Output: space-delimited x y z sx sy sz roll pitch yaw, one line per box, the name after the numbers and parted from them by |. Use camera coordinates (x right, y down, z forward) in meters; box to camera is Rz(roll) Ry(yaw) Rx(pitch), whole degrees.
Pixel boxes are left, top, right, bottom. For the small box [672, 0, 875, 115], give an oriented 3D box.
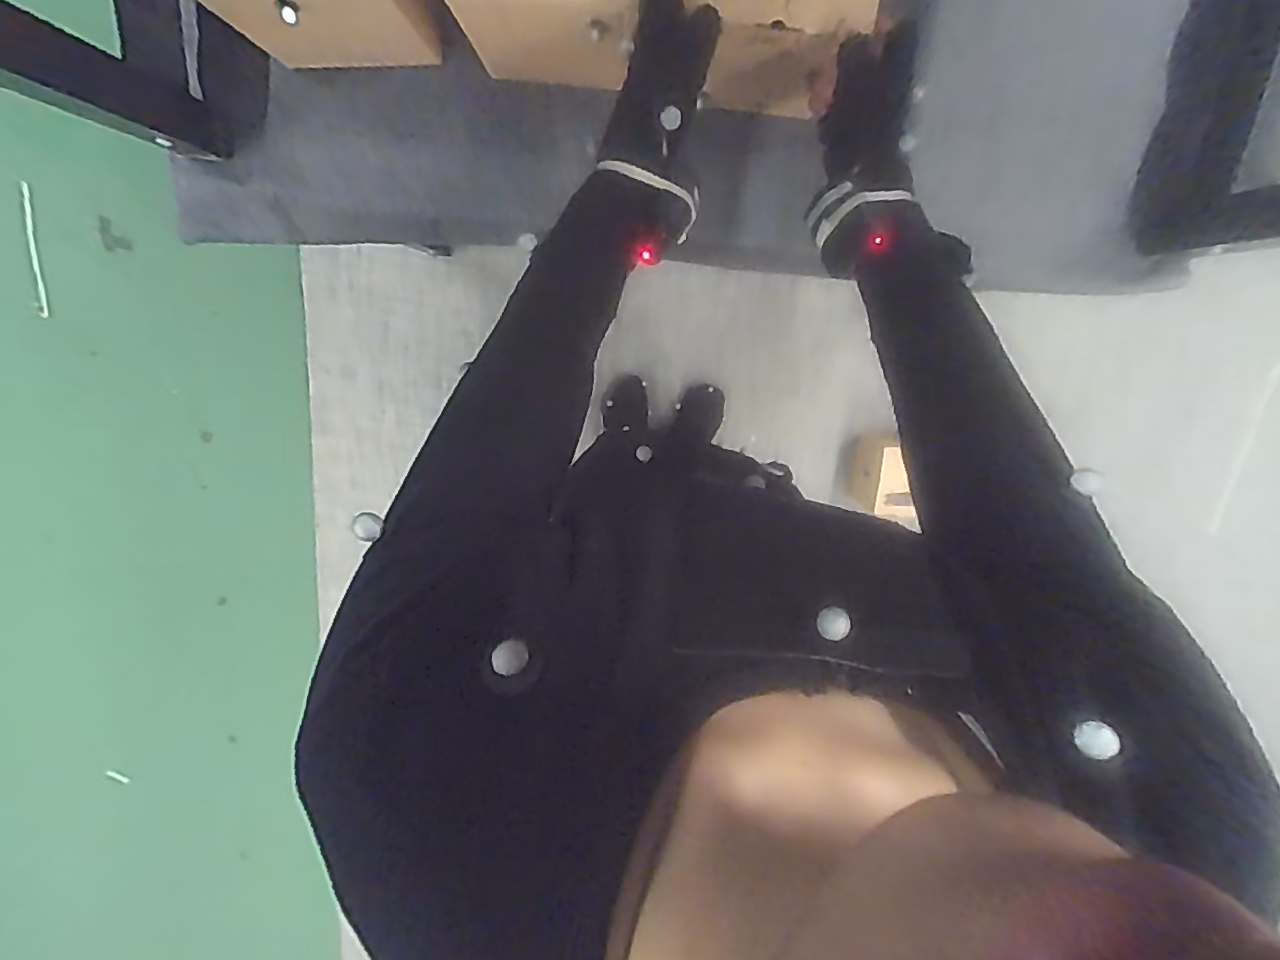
0.121 -0.477 0.510 0.168 0.176 0.179 5 104 -1 | small box
